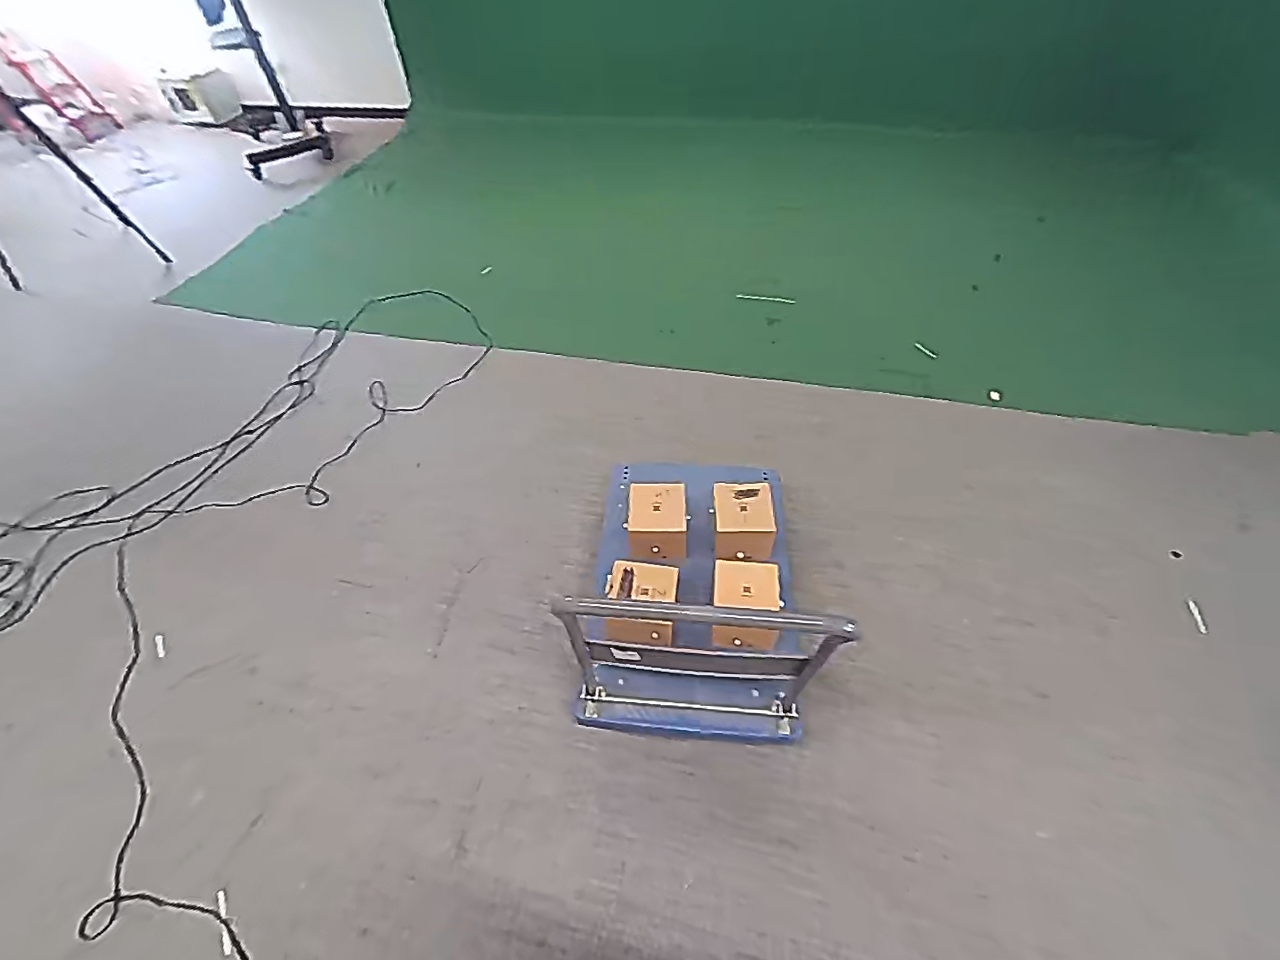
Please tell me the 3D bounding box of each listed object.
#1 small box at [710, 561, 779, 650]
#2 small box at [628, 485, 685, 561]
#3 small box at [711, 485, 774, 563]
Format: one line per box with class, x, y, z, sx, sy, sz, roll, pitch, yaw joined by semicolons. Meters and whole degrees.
small box;0.281;0.343;1.478;0.168;0.176;0.179;4;51;6
small box;0.054;0.135;1.659;0.168;0.176;0.179;1;51;2
small box;0.305;0.133;1.647;0.168;0.176;0.179;0;52;4
